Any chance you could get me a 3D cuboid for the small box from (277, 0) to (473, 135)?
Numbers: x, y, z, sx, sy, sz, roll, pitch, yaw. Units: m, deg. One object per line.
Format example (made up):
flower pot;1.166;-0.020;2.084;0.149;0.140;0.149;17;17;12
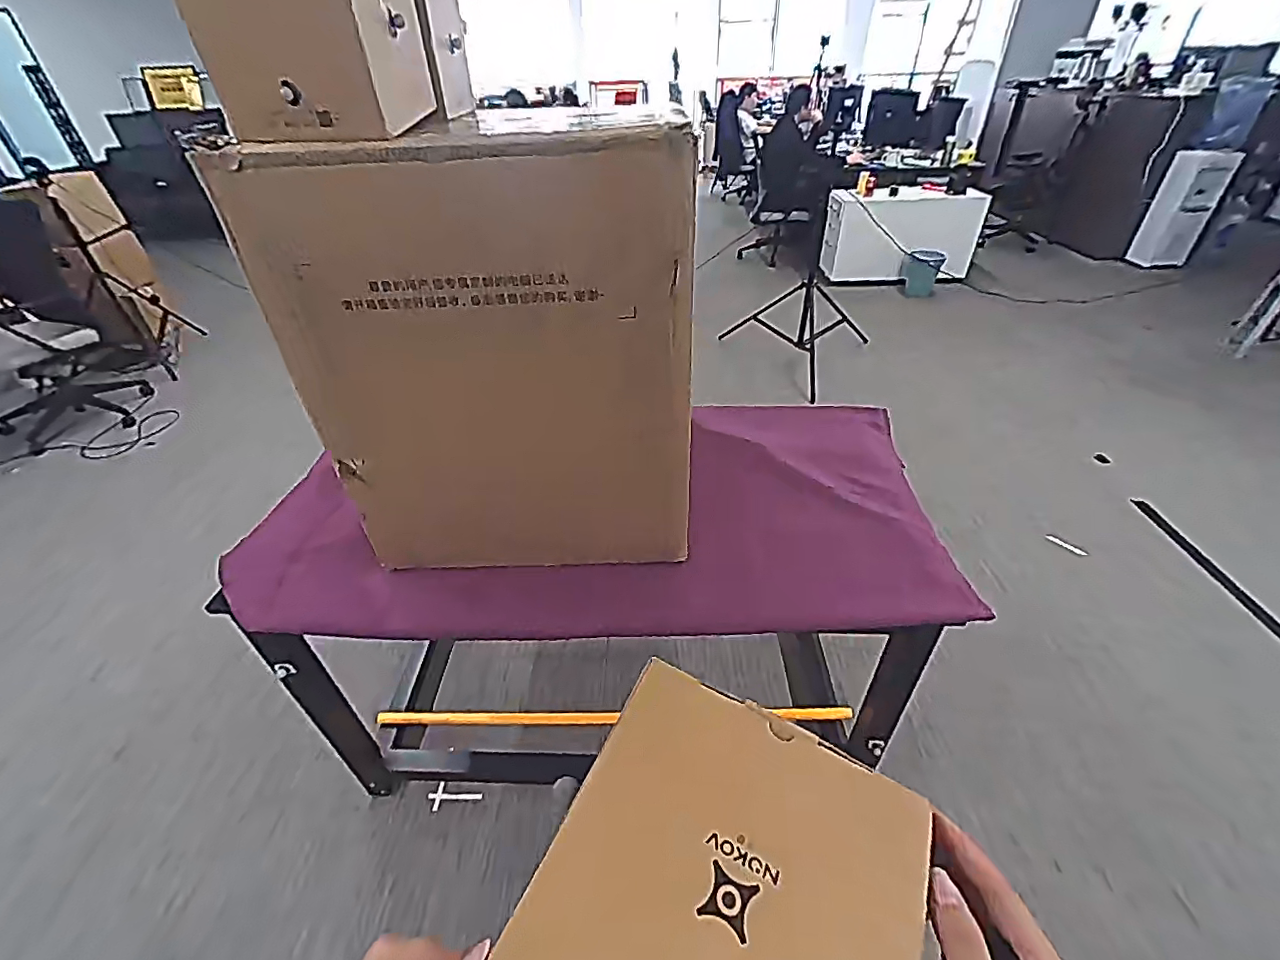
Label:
small box;-0.336;-0.570;0.720;0.179;0.176;0.168;-1;37;0
